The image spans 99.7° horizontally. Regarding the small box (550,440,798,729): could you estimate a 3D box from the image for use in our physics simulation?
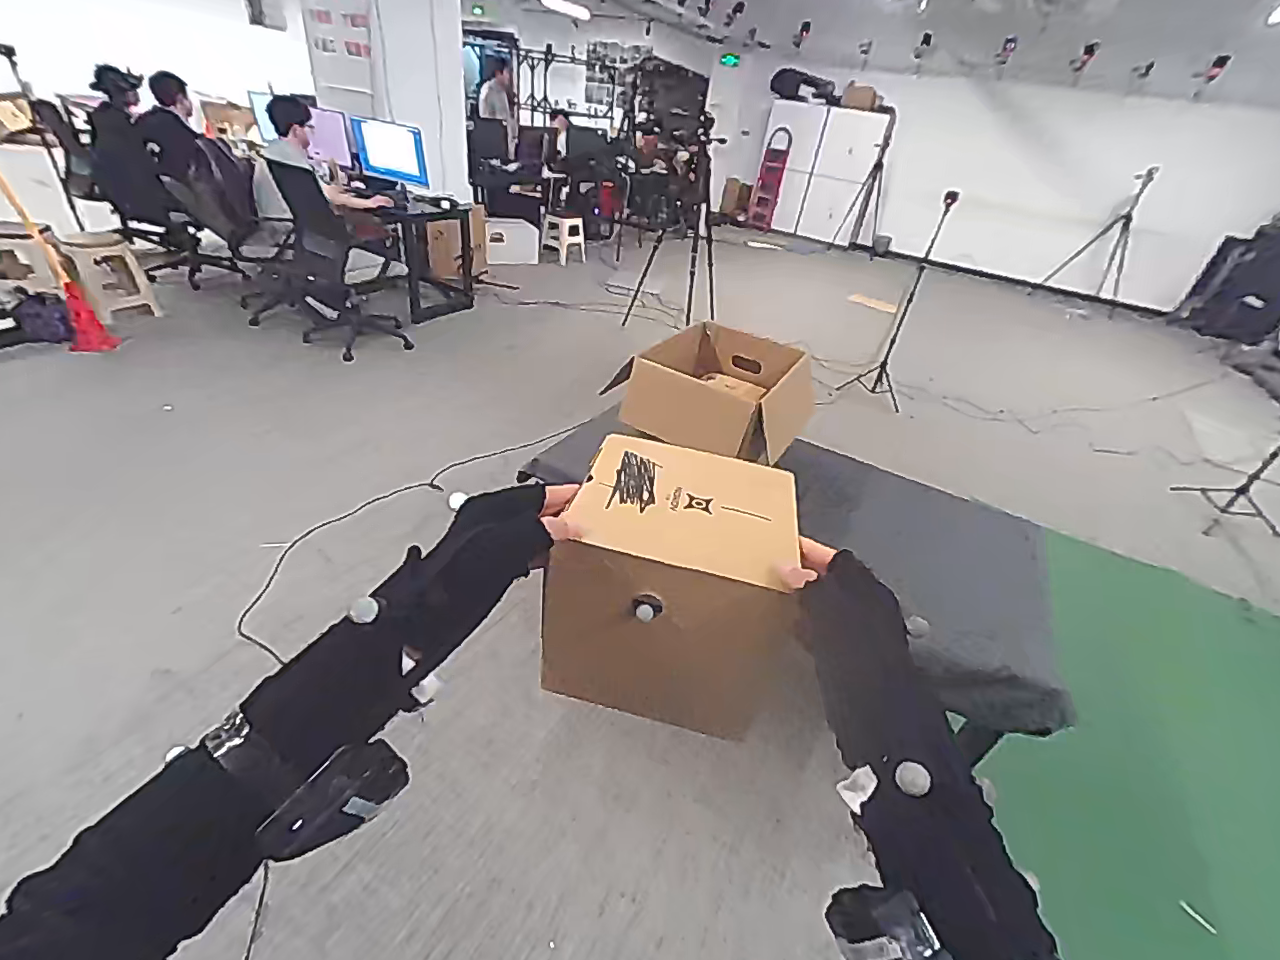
[{"bbox_3d":[0.027,0.088,0.478,0.179,0.176,0.168,13,32,5],"label":"small box"}]
